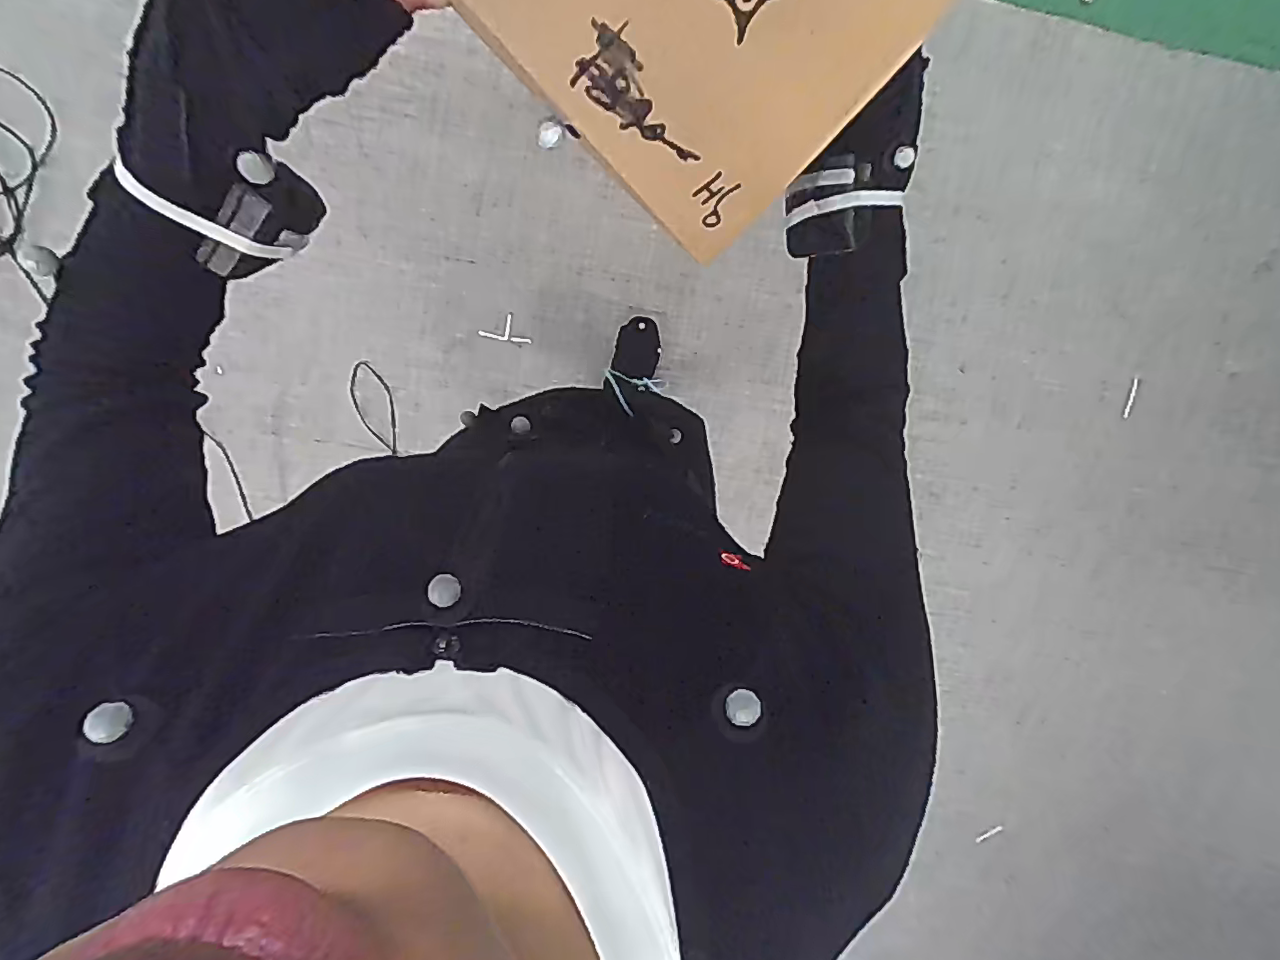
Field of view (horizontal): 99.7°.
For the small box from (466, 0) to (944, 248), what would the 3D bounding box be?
[{"bbox_3d":[0.015,-0.260,0.253,0.179,0.176,0.168,-43,145,19],"label":"small box"}]
